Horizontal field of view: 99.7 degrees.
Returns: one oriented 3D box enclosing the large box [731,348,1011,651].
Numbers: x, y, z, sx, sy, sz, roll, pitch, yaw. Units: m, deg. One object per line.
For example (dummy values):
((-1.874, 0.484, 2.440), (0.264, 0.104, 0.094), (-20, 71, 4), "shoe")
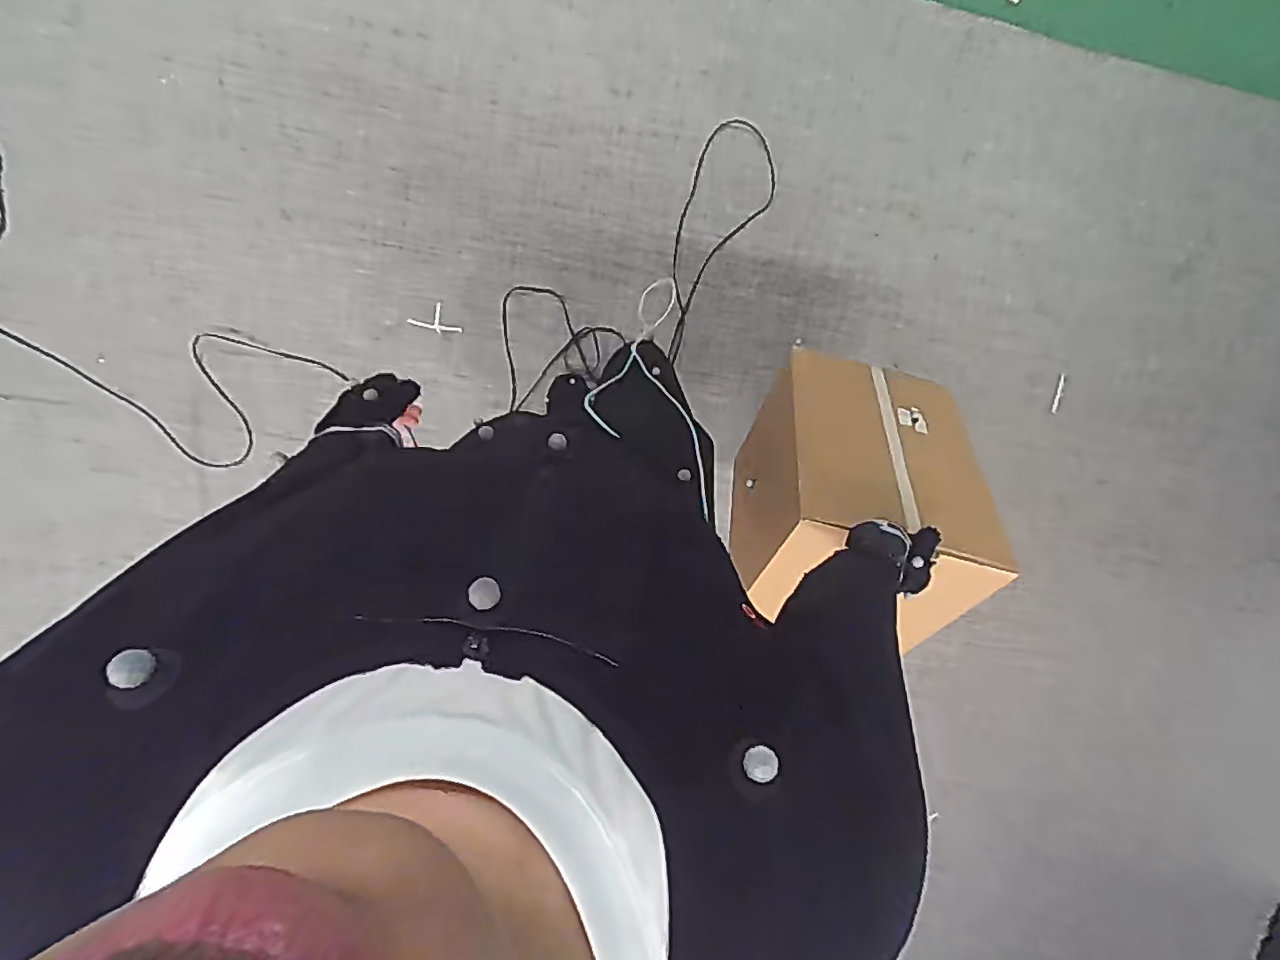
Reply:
((0.360, 0.036, 0.970), (0.320, 0.408, 0.320), (15, 138, -4), "large box")
